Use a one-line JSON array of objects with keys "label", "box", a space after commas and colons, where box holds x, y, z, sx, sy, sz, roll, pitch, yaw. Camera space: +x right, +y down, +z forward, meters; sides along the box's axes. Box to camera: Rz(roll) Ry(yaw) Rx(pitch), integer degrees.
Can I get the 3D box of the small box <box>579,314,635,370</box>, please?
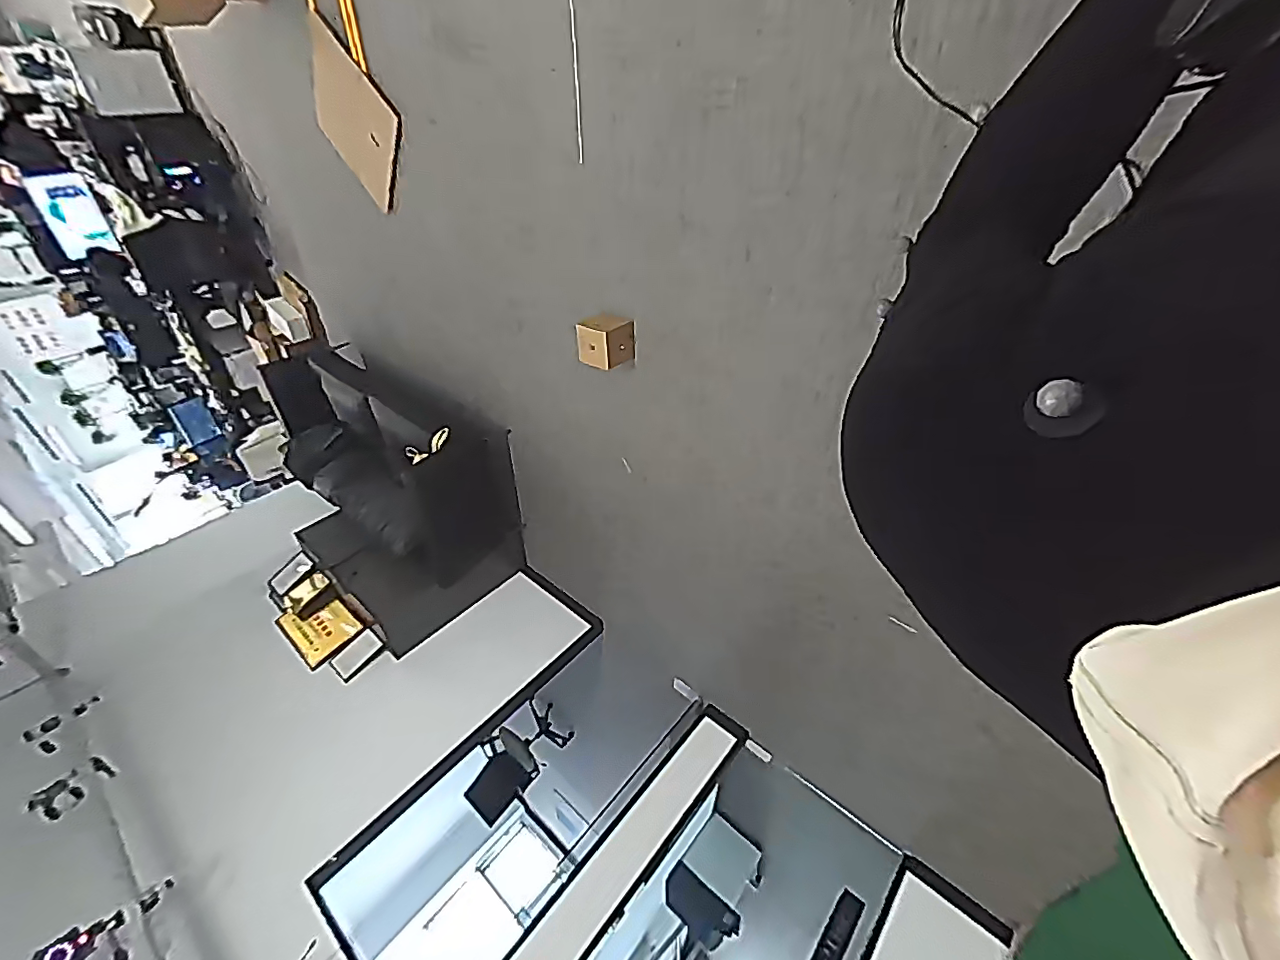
[{"label": "small box", "box": [-0.131, -0.586, 2.278, 0.179, 0.176, 0.168, 26, 134, 34]}]
